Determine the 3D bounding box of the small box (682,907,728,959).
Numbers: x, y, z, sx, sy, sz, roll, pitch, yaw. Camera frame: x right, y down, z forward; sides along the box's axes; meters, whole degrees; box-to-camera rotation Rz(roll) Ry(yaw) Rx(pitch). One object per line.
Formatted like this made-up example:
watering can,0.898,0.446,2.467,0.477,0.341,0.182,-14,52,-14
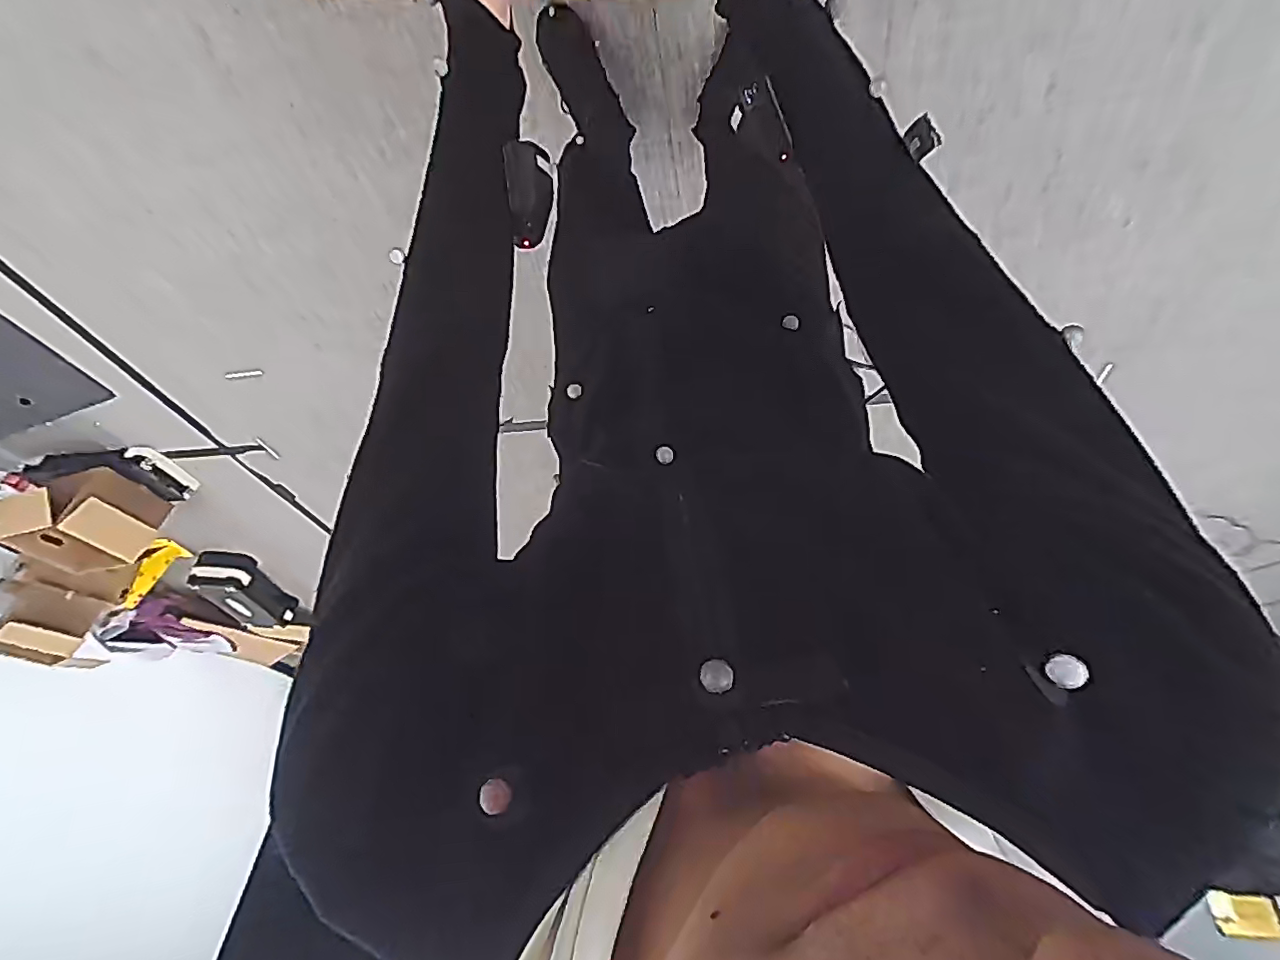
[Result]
small box,0.256,1.797,2.133,0.168,0.176,0.179,-5,142,11
